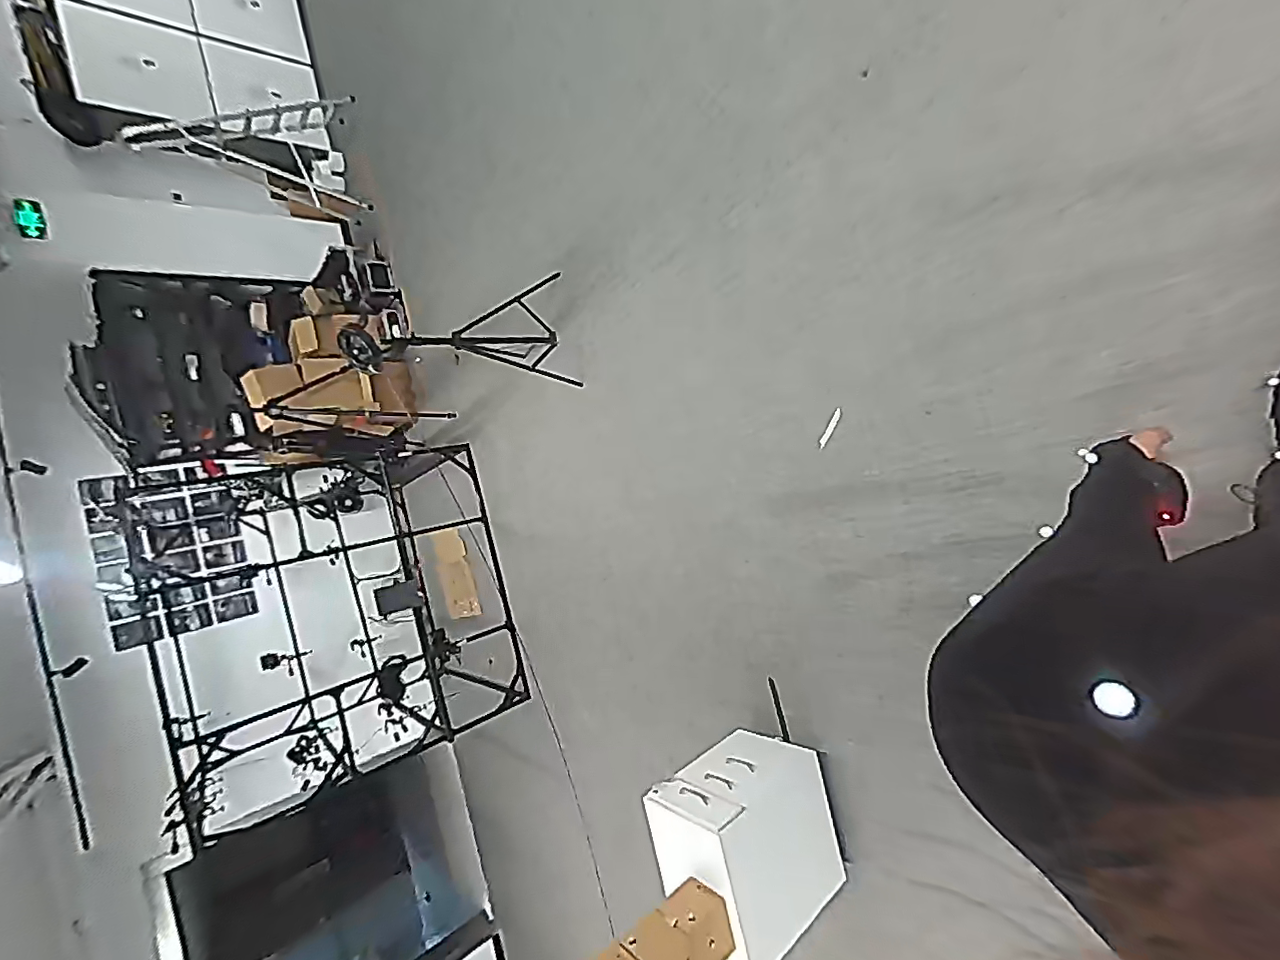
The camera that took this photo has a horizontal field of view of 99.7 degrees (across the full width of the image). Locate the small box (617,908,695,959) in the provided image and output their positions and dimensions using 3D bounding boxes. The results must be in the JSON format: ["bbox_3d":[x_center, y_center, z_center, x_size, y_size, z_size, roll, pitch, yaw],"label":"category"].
[{"bbox_3d":[0.054,1.480,1.667,0.179,0.176,0.168,-10,94,52],"label":"small box"}]

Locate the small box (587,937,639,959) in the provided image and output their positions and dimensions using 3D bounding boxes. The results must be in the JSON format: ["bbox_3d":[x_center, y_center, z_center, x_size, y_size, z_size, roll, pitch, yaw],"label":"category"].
[{"bbox_3d":[-0.072,1.501,1.565,0.168,0.176,0.179,-12,91,53],"label":"small box"}]
